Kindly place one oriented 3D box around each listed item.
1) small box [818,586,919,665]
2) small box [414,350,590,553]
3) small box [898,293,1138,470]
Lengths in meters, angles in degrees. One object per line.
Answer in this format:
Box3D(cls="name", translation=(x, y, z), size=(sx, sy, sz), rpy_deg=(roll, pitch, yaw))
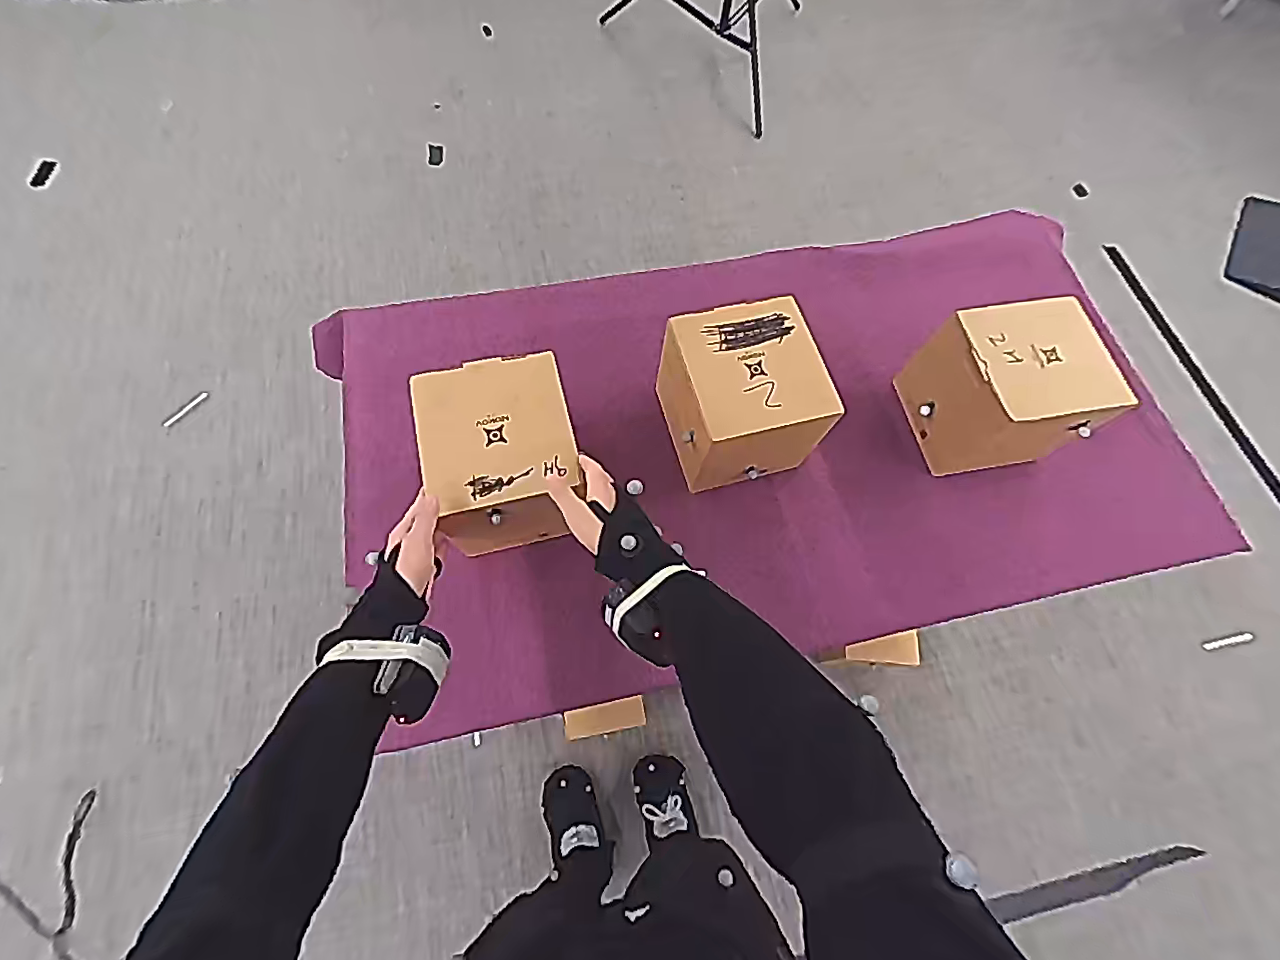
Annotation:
Box3D(cls="small box", translation=(0.557, 0.363, 1.336), size=(0.179, 0.176, 0.168), rpy_deg=(5, 69, 0))
Box3D(cls="small box", translation=(-0.160, -0.028, 0.662), size=(0.168, 0.176, 0.179), rpy_deg=(-13, 70, -9))
Box3D(cls="small box", translation=(0.496, -0.128, 0.740), size=(0.179, 0.176, 0.168), rpy_deg=(-9, 68, -6))
